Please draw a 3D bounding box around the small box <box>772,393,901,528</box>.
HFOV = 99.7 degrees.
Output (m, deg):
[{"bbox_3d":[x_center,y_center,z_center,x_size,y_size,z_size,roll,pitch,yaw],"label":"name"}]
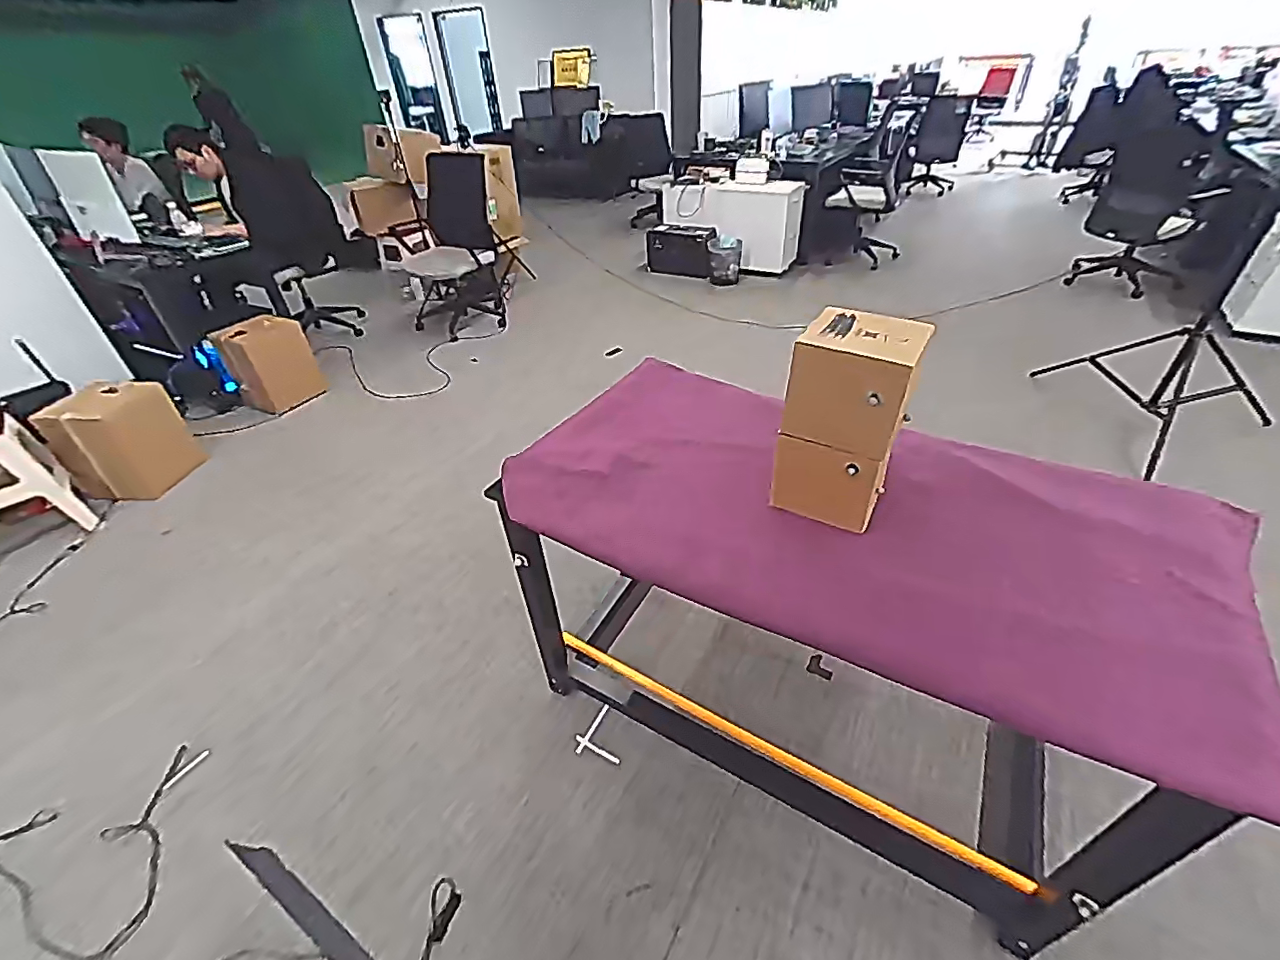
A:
[{"bbox_3d":[0.356,-0.037,0.998,0.179,0.176,0.168,19,43,25],"label":"small box"}]
